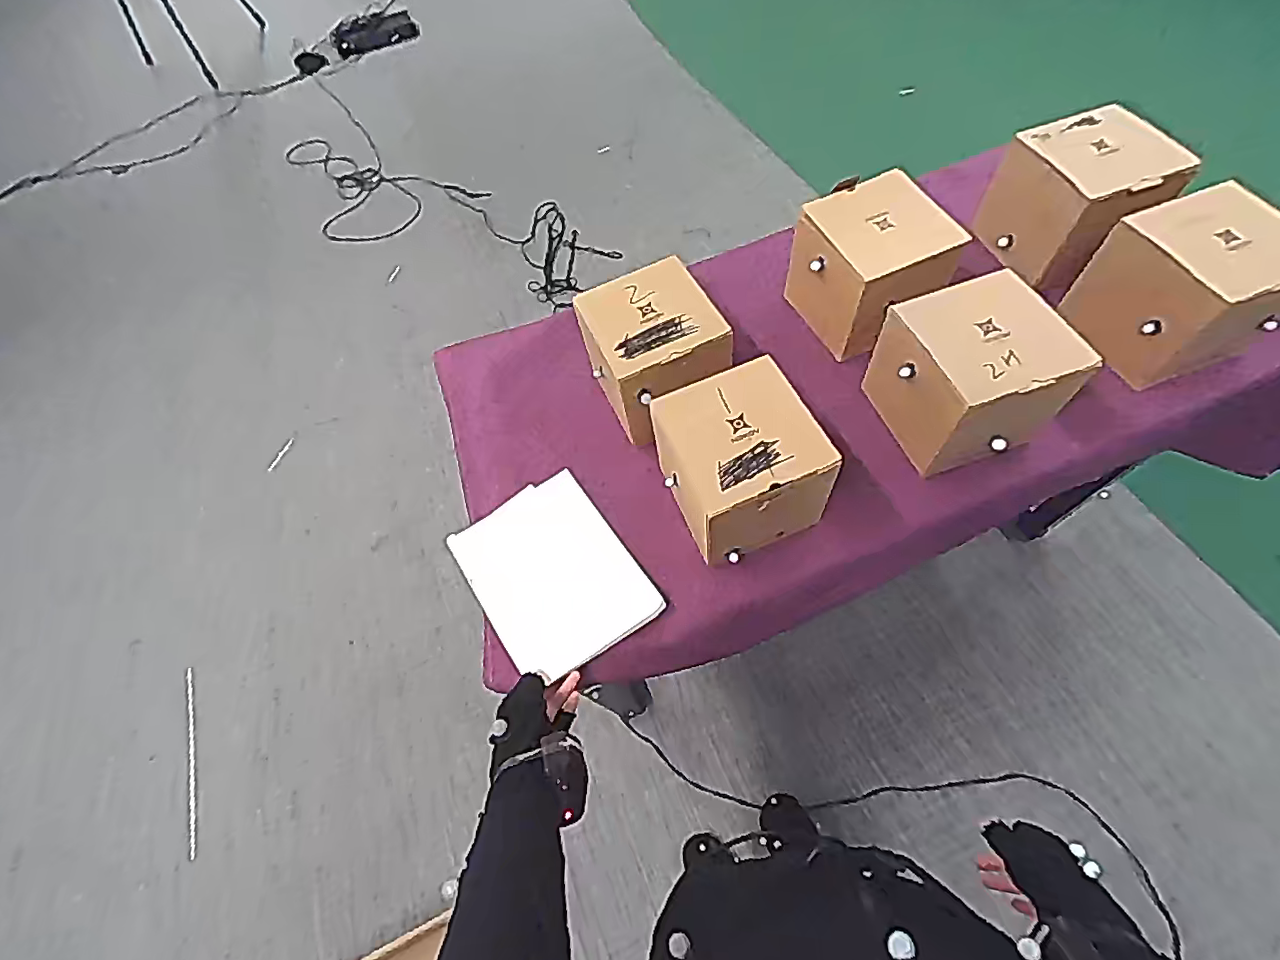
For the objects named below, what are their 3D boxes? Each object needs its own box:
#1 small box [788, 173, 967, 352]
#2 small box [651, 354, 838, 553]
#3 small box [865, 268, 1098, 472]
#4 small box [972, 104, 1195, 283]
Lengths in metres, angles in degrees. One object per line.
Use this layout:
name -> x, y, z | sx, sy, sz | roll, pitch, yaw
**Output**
small box -> 0.347, -0.322, 0.831 | 0.168, 0.176, 0.179 | -23, 61, -5
small box -> 0.127, -0.023, 0.697 | 0.168, 0.176, 0.179 | -21, 61, -3
small box -> 0.428, -0.140, 0.719 | 0.168, 0.176, 0.179 | -18, 61, -2
small box -> 0.668, -0.434, 0.844 | 0.168, 0.176, 0.179 | -17, 62, -2
